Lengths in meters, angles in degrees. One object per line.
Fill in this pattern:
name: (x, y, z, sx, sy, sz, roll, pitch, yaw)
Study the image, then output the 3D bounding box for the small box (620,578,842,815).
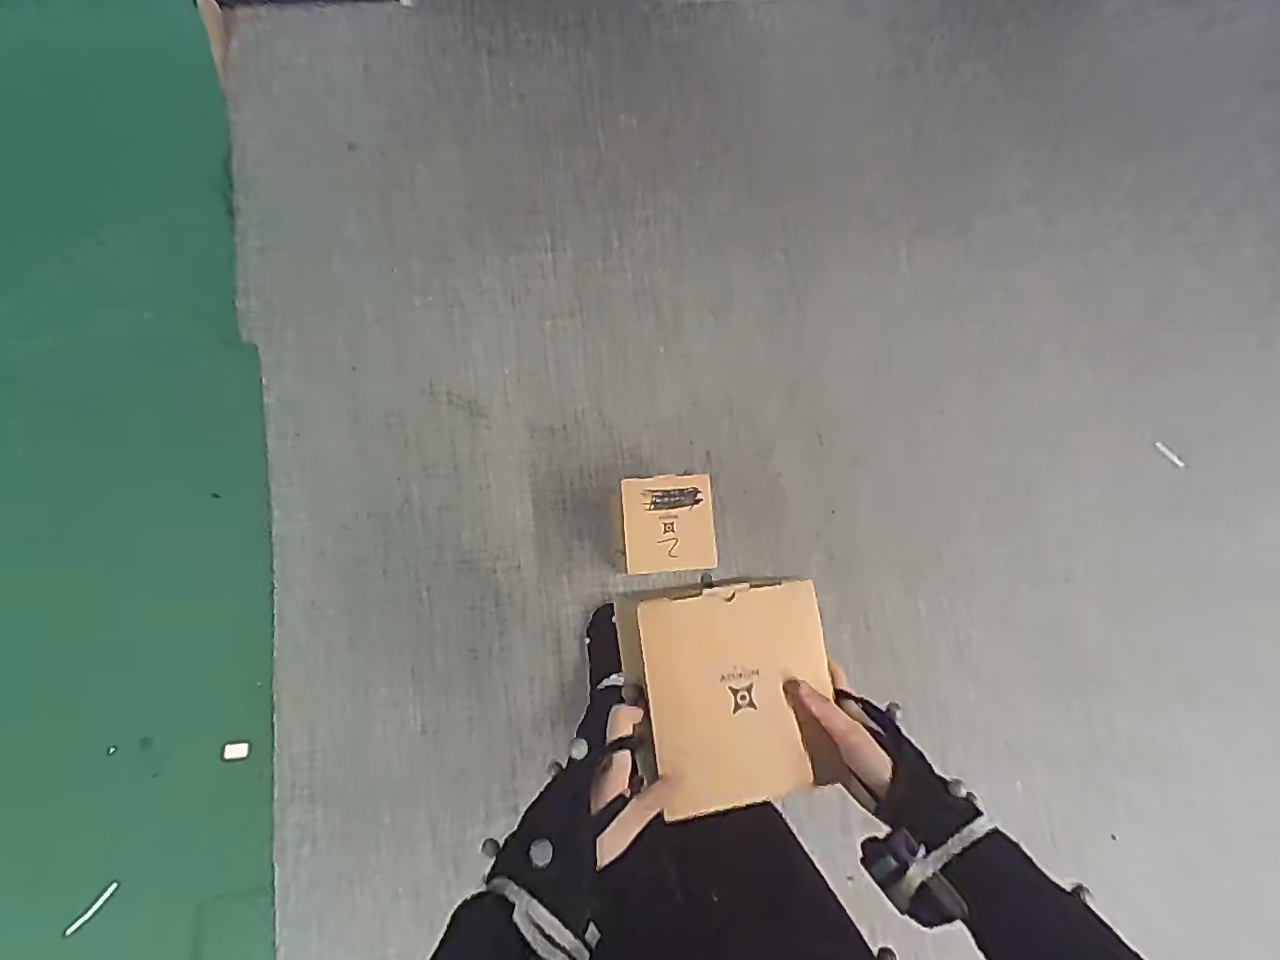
small box: (0.075, 0.197, 0.547, 0.168, 0.176, 0.179, -7, 81, -9)

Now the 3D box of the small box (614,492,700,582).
small box: (0.033, 0.128, 1.214, 0.168, 0.176, 0.179, -6, 82, -6)
